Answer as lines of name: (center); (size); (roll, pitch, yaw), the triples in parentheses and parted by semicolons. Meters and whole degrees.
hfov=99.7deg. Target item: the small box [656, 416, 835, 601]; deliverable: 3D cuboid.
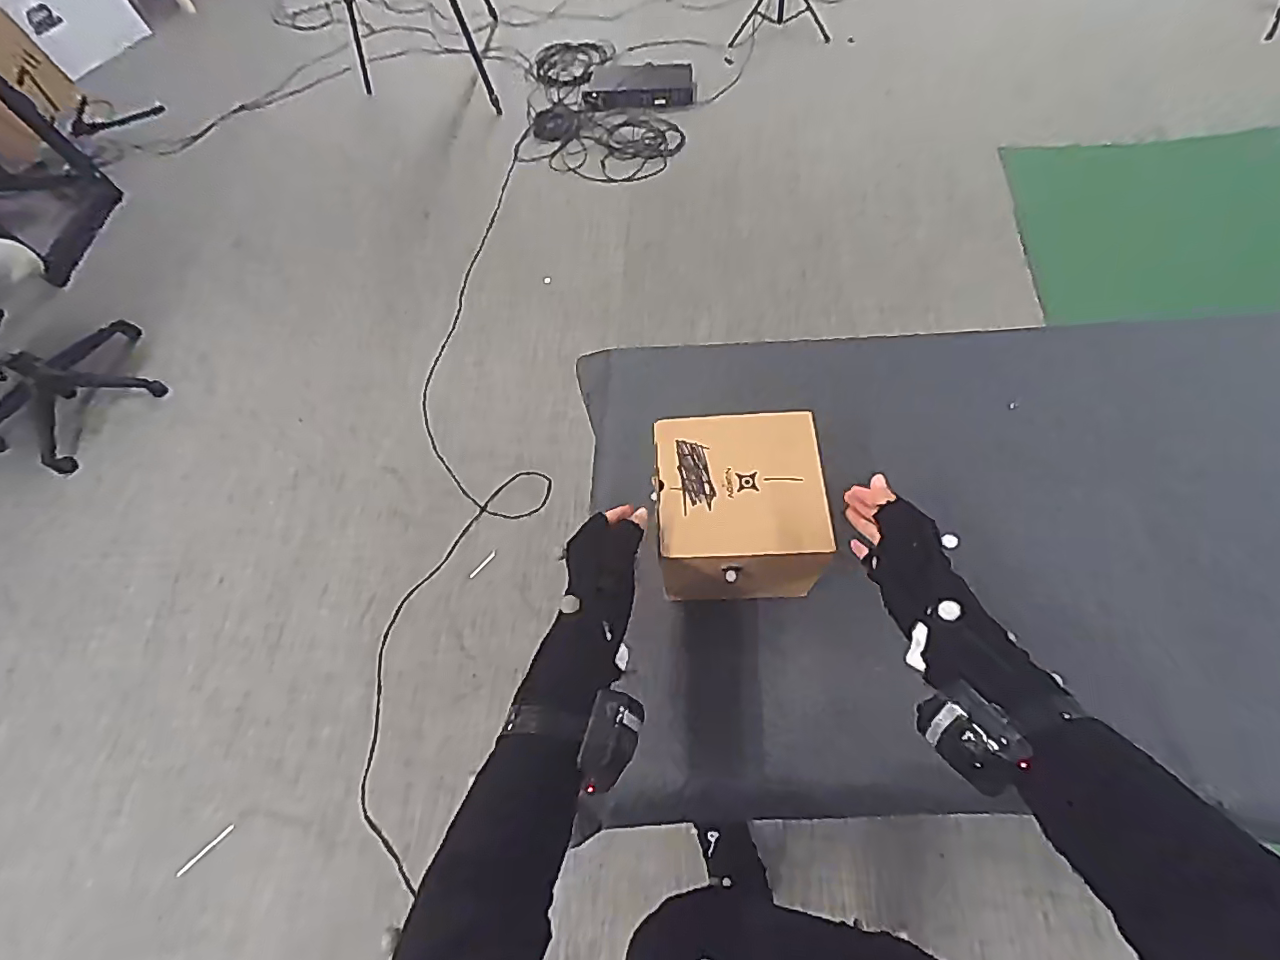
small box: (0.114, 0.042, 0.640); (0.179, 0.176, 0.168); (-3, 63, 4)
